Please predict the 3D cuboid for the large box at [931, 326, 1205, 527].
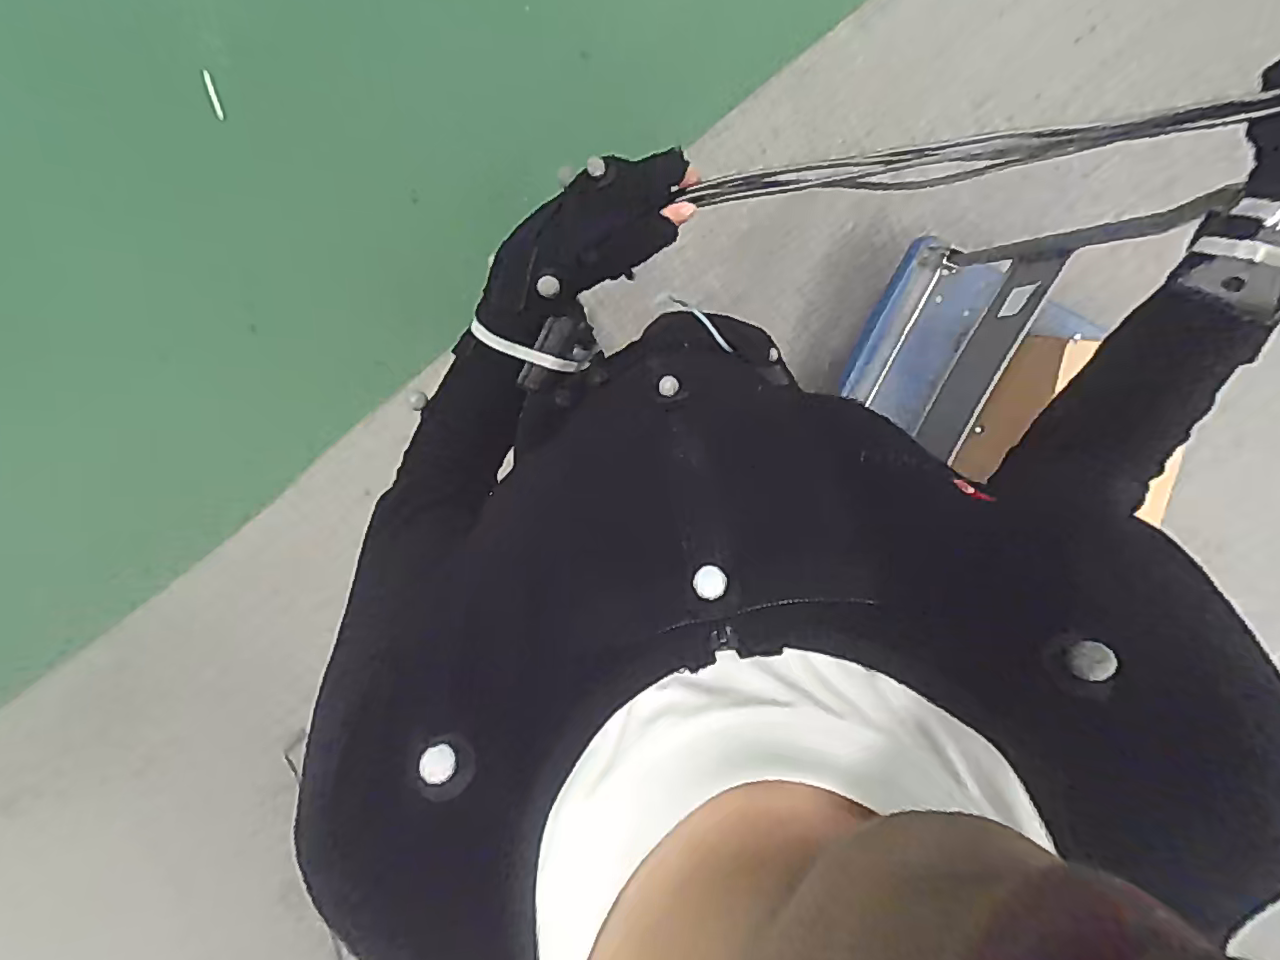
[{"bbox_3d":[0.912,-0.133,1.214,0.320,0.320,0.408,0,106,-6],"label":"large box"}]
